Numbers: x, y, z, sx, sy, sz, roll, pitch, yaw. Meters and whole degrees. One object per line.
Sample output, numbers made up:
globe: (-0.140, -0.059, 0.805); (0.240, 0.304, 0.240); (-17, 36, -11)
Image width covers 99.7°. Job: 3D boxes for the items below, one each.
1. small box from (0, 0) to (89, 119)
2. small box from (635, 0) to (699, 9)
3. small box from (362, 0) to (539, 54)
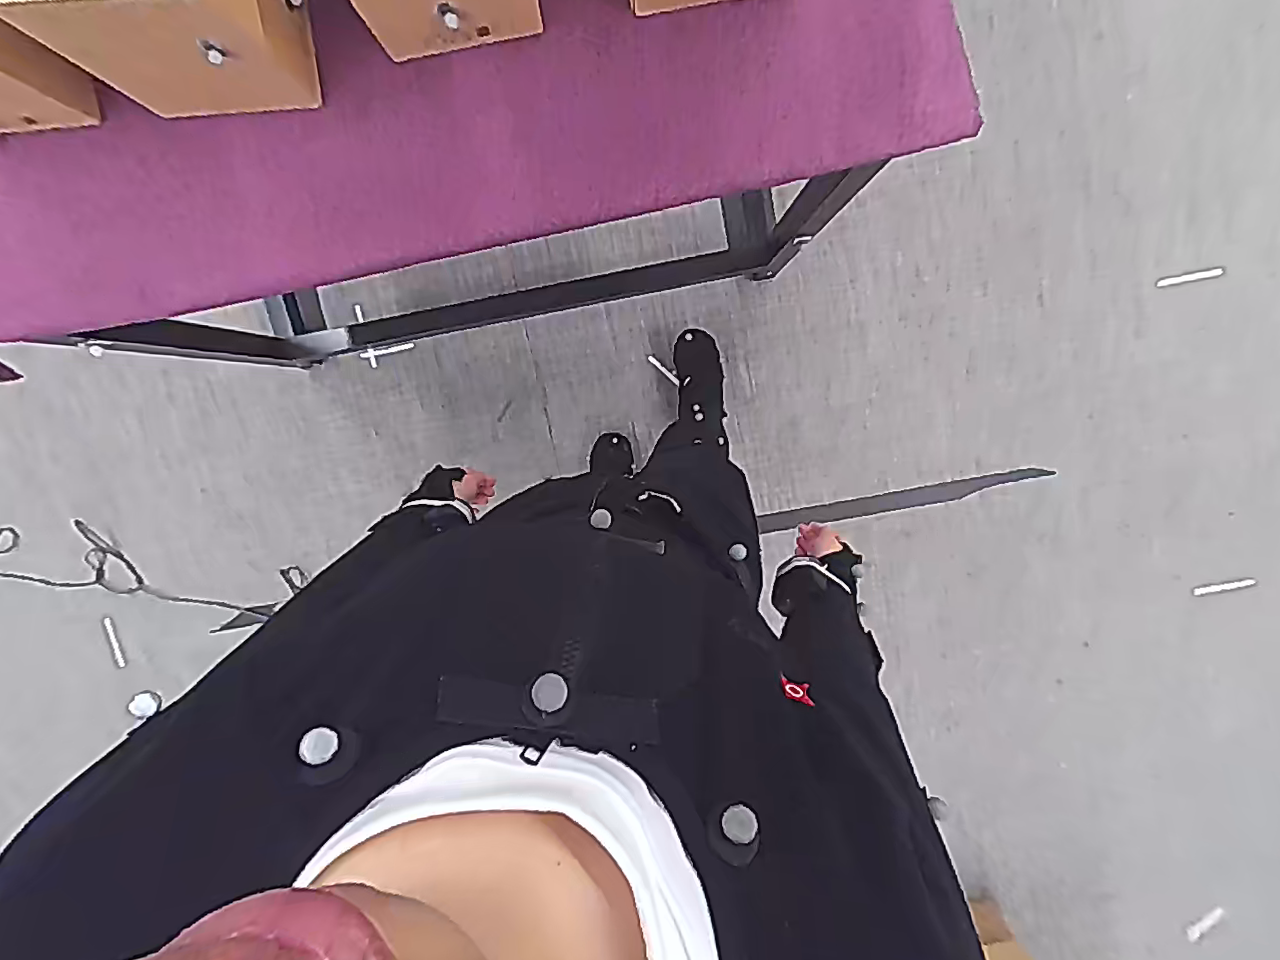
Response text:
small box: (-0.669, -0.455, 0.491); (0.168, 0.176, 0.179); (-5, 98, 0)
small box: (0.068, -0.573, 0.477); (0.179, 0.176, 0.168); (-9, 97, 2)
small box: (-0.198, -0.537, 0.481); (0.168, 0.176, 0.179); (-10, 98, 2)
